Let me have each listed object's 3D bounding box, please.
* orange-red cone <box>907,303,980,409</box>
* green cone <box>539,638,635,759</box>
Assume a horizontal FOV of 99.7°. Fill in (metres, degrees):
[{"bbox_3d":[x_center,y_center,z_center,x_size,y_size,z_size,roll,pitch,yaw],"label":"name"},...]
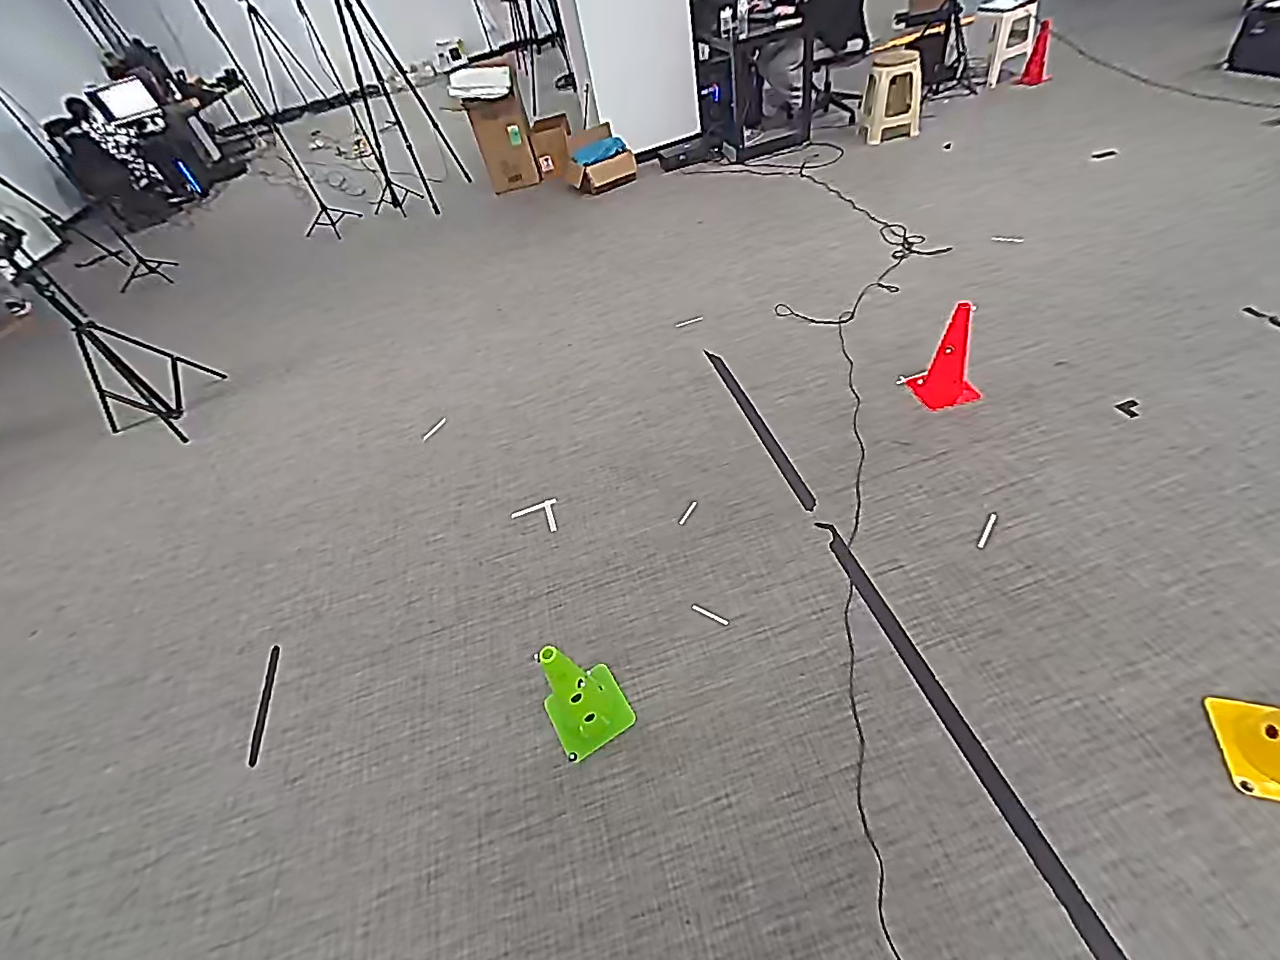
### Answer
[{"bbox_3d":[1.104,-0.456,1.904,0.198,0.360,0.199,-13,47,3],"label":"orange-red cone"},{"bbox_3d":[-0.169,0.498,1.338,0.200,0.368,0.202,-29,46,-14],"label":"green cone"}]
